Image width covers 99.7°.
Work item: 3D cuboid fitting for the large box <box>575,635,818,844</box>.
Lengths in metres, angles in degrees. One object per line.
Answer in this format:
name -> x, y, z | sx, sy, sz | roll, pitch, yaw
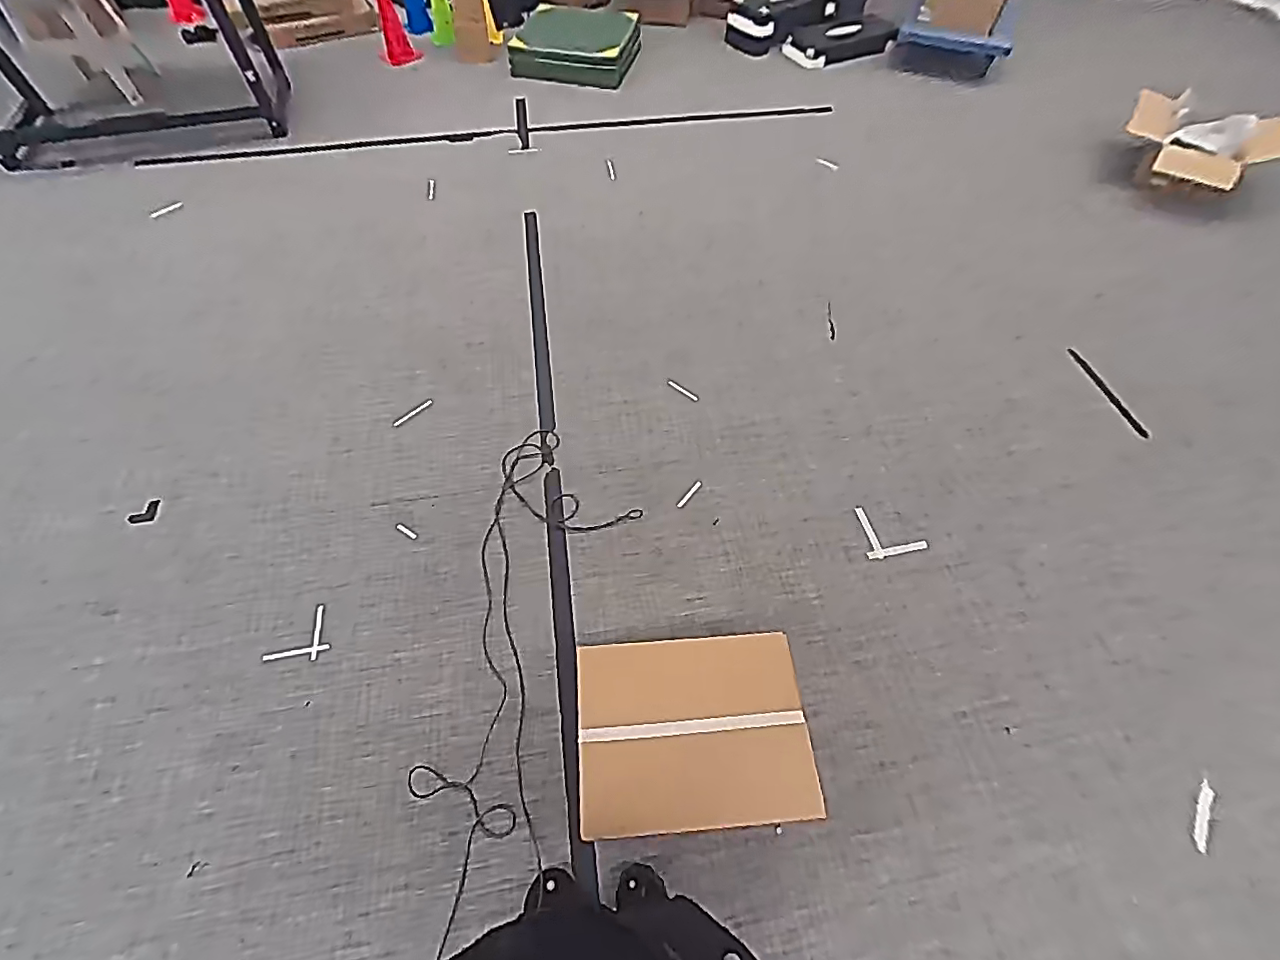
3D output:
large box -> 0.086, 0.524, 1.088 | 0.408, 0.320, 0.320 | -3, 57, -3
